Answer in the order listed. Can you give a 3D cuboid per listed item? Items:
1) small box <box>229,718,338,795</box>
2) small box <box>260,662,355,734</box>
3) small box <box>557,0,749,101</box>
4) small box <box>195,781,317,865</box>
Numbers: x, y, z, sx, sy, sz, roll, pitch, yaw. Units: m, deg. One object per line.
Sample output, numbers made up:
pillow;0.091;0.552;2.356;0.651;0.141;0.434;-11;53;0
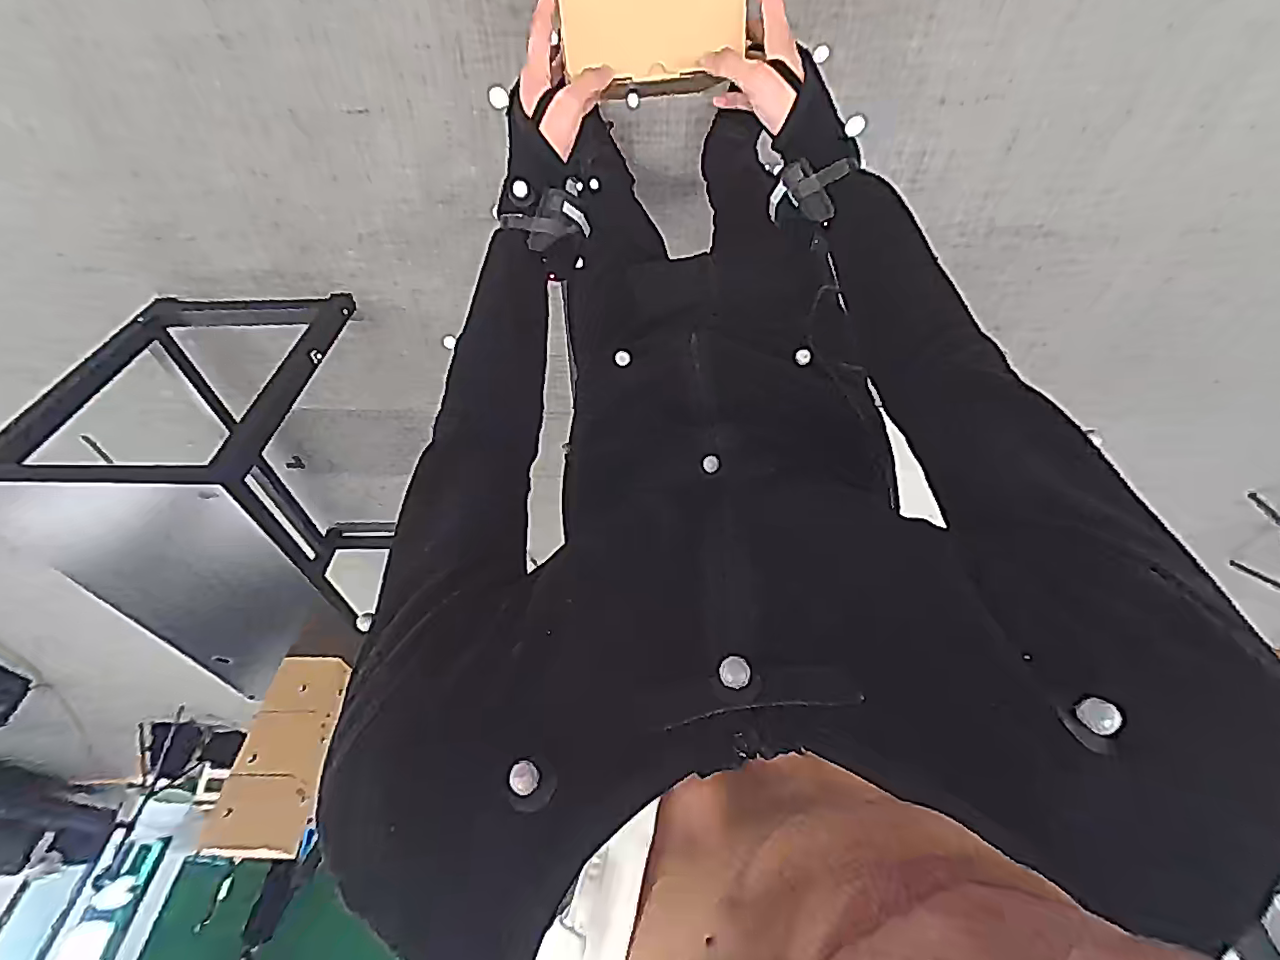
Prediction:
small box;-1.014;0.795;1.558;0.179;0.176;0.168;-1;139;1
small box;-1.010;0.673;1.669;0.179;0.176;0.168;-1;138;2
small box;0.002;-0.479;0.513;0.168;0.176;0.179;-7;122;-2
small box;-1.015;0.916;1.449;0.179;0.176;0.168;-1;139;2
